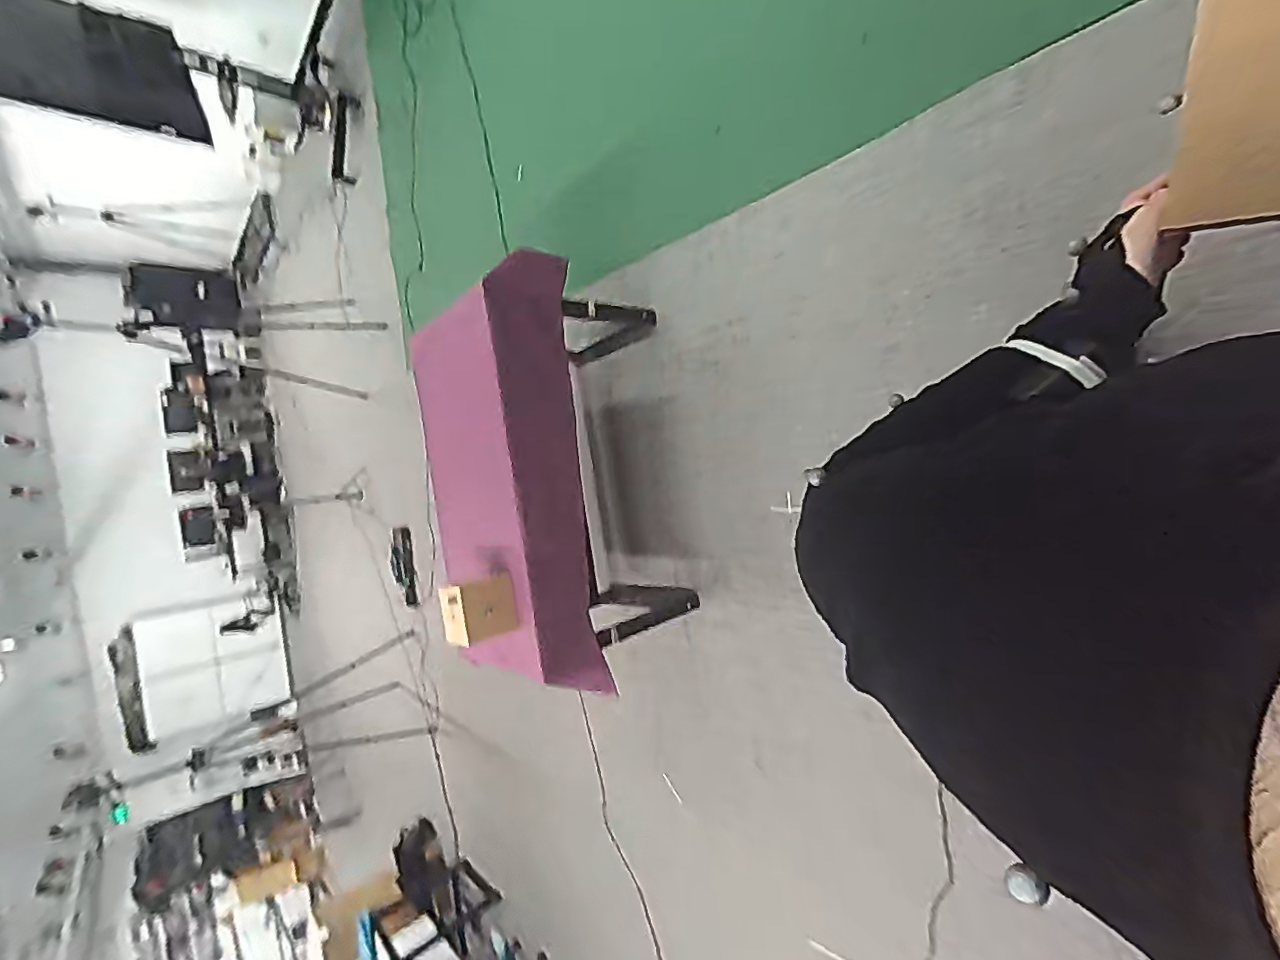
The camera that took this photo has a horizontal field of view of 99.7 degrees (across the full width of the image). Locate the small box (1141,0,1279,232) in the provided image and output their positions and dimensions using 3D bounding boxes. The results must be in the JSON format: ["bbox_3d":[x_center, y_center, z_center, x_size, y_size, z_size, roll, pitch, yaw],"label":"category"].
[{"bbox_3d":[0.444,-0.254,0.332,0.179,0.176,0.168,10,115,42],"label":"small box"}]

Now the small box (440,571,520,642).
[{"bbox_3d":[-0.494,0.382,1.671,0.168,0.176,0.179,-11,89,48],"label":"small box"}]
